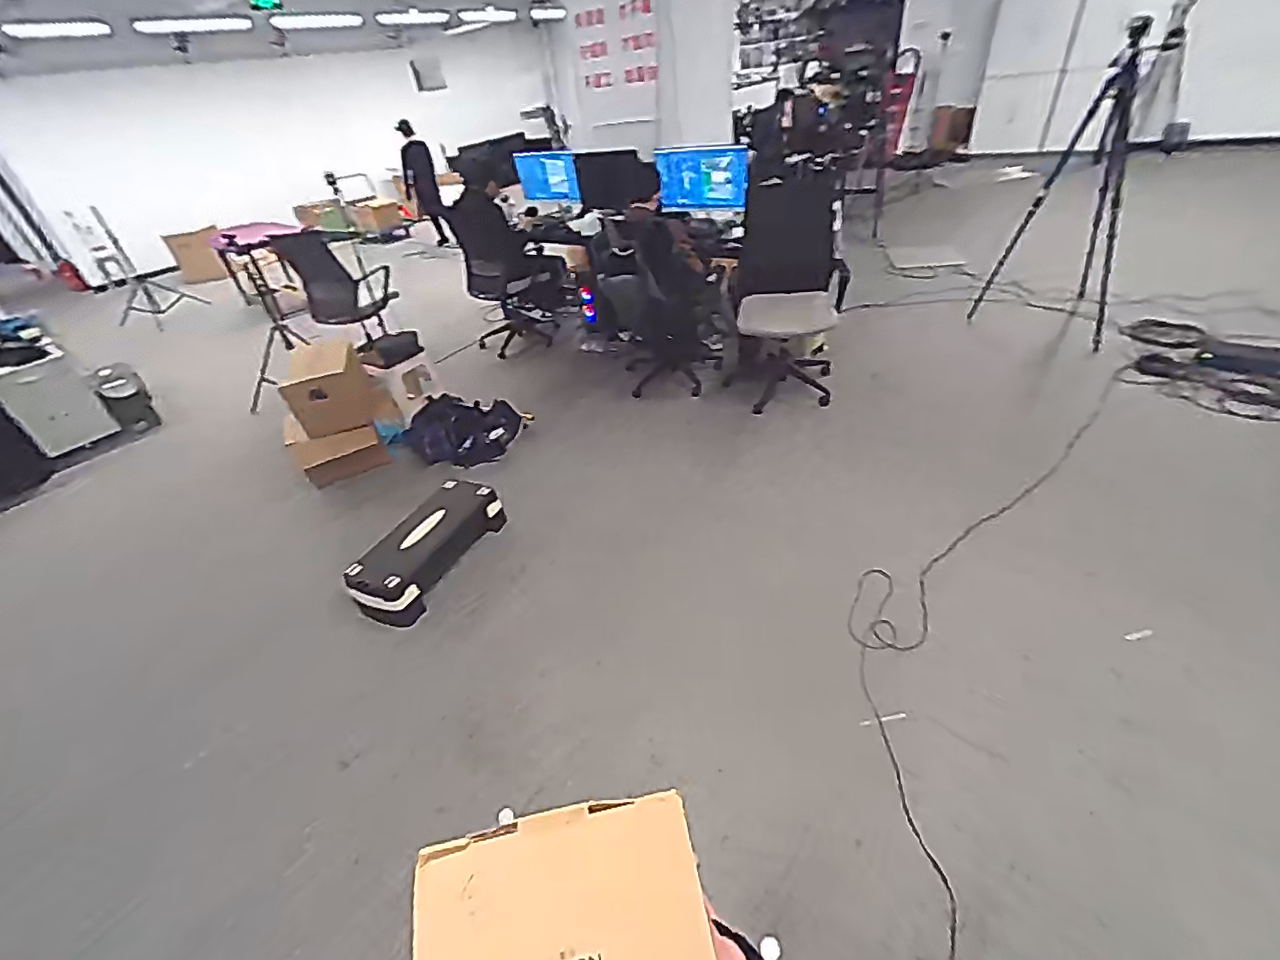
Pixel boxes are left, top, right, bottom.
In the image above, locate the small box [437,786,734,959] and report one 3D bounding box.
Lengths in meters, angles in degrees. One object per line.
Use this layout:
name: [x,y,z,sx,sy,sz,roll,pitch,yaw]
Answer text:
small box: [-0.034,0.323,0.359,0.168,0.176,0.179,-7,58,-10]
